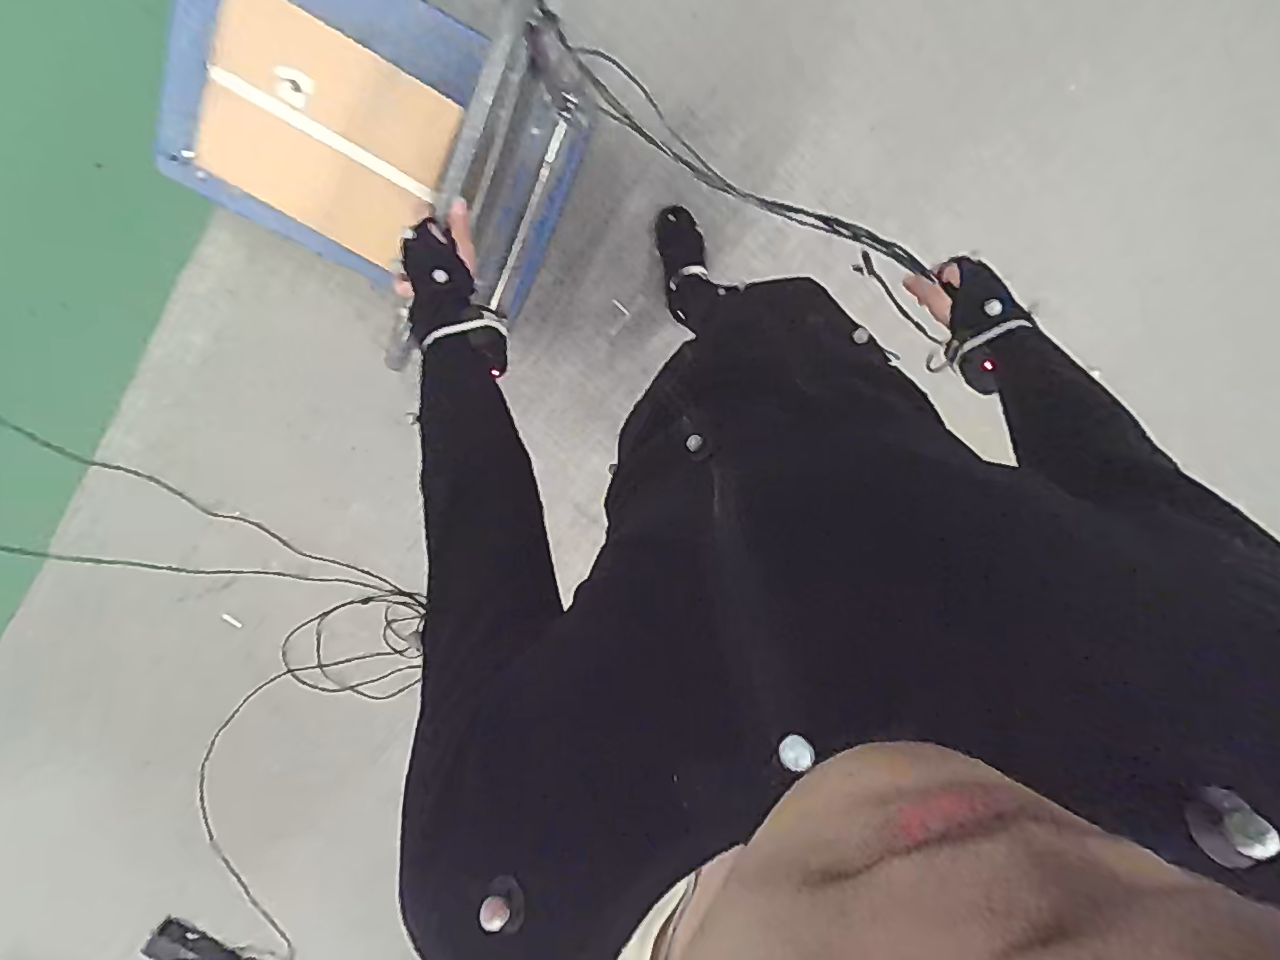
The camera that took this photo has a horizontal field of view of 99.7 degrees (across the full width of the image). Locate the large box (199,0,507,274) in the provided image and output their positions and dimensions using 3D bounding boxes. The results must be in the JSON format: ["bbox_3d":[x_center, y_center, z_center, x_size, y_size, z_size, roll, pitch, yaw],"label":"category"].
[{"bbox_3d":[-0.540,-0.653,1.082,0.408,0.320,0.320,28,109,-8],"label":"large box"}]
